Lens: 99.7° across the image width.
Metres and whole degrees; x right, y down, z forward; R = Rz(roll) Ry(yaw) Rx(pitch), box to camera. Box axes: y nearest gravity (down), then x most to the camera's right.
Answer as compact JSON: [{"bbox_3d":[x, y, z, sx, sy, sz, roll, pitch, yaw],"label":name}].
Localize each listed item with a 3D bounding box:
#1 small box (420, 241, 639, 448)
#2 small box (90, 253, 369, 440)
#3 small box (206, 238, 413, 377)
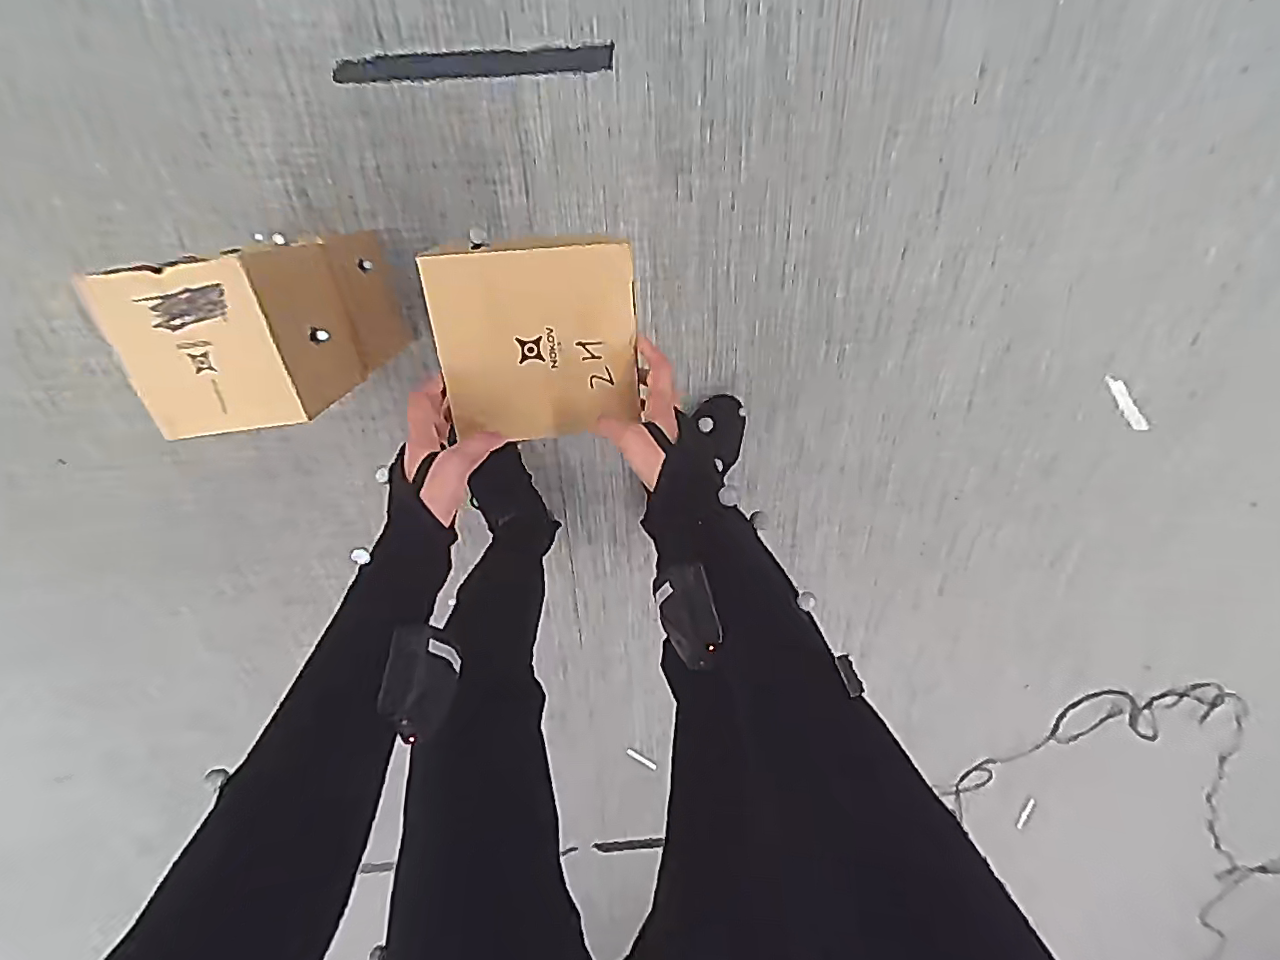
[{"bbox_3d":[-0.101,-0.143,0.541,0.179,0.176,0.168,-6,118,-9],"label":"small box"},{"bbox_3d":[-0.453,-0.165,0.635,0.168,0.176,0.179,-6,118,0],"label":"small box"},{"bbox_3d":[-0.455,-0.245,0.779,0.168,0.176,0.179,-8,118,1],"label":"small box"}]
